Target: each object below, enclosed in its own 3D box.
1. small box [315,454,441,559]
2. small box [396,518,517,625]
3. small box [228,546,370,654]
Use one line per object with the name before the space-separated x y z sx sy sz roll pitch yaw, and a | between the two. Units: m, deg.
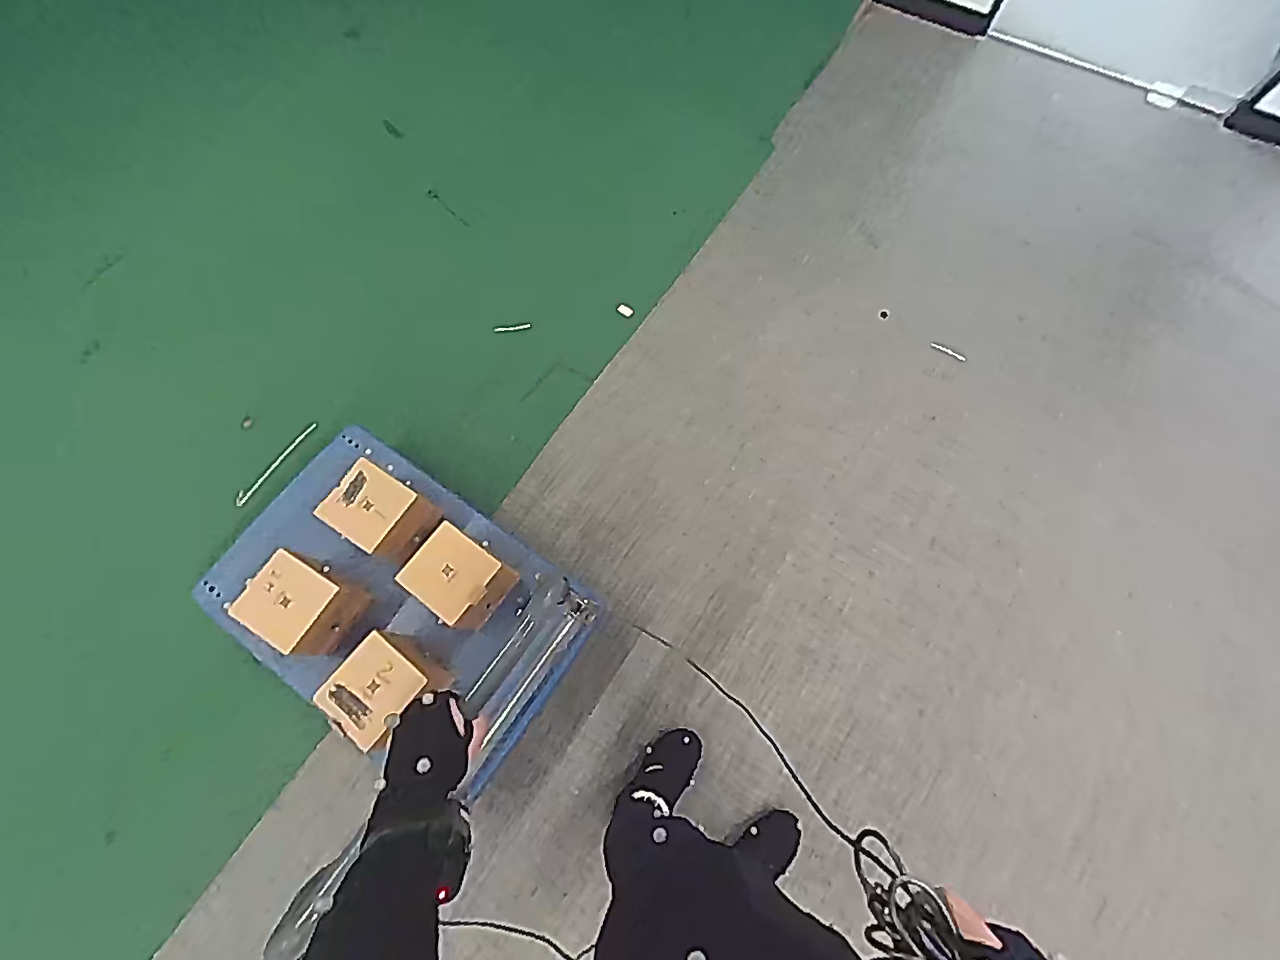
small box | -0.615 0.072 1.291 0.179 0.176 0.168 32 76 10
small box | -0.412 0.218 1.242 0.179 0.176 0.168 35 75 10
small box | -0.758 0.275 1.226 0.179 0.176 0.168 30 74 10
